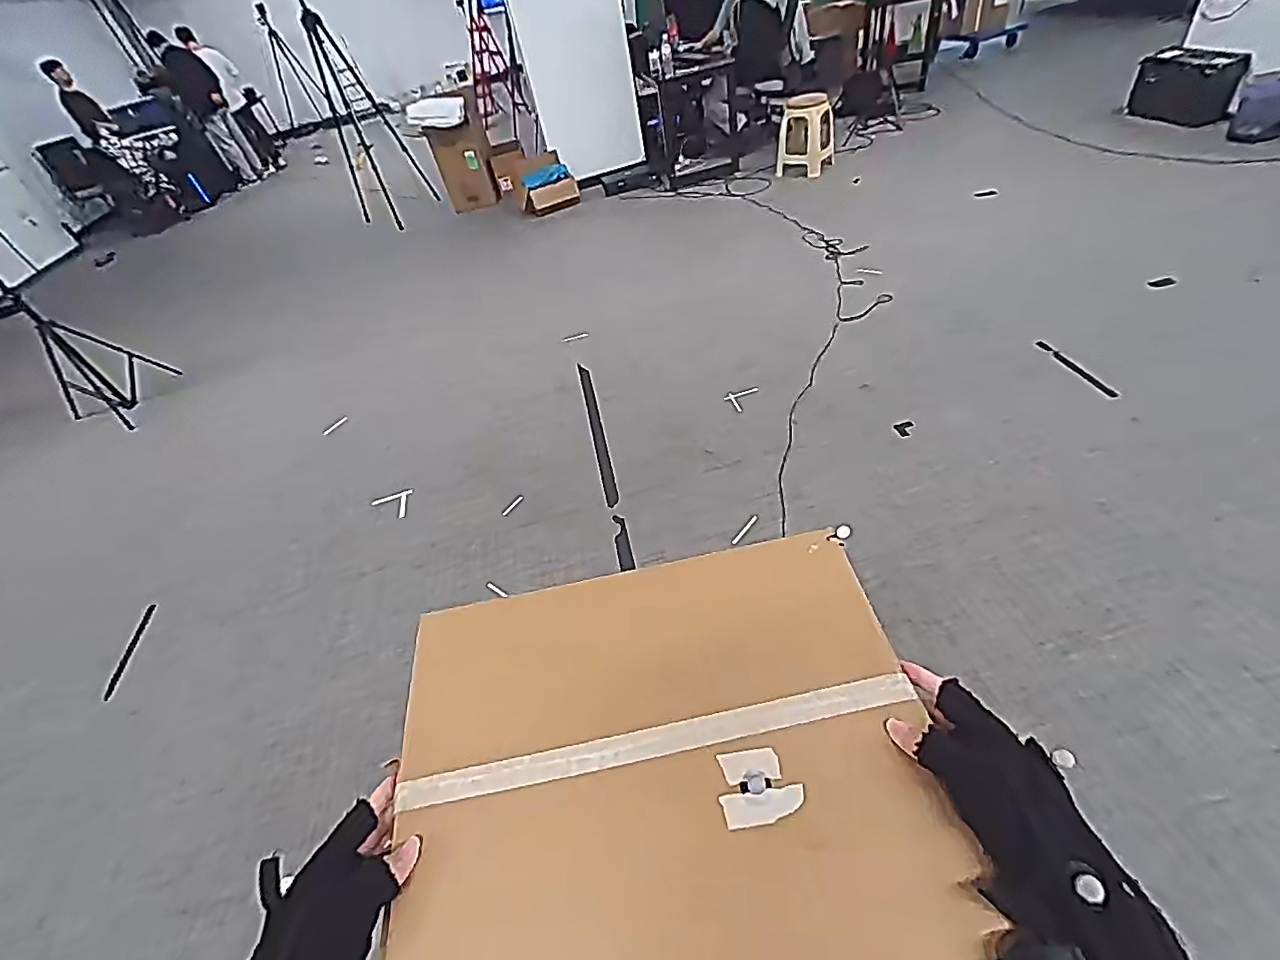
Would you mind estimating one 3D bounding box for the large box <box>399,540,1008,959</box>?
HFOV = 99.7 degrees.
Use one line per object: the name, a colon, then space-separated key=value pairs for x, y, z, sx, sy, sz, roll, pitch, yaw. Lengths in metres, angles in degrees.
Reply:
large box: x=0.034 y=0.309 z=0.543 sx=0.408 sy=0.320 sz=0.320 roll=-12 pitch=49 yaw=0
